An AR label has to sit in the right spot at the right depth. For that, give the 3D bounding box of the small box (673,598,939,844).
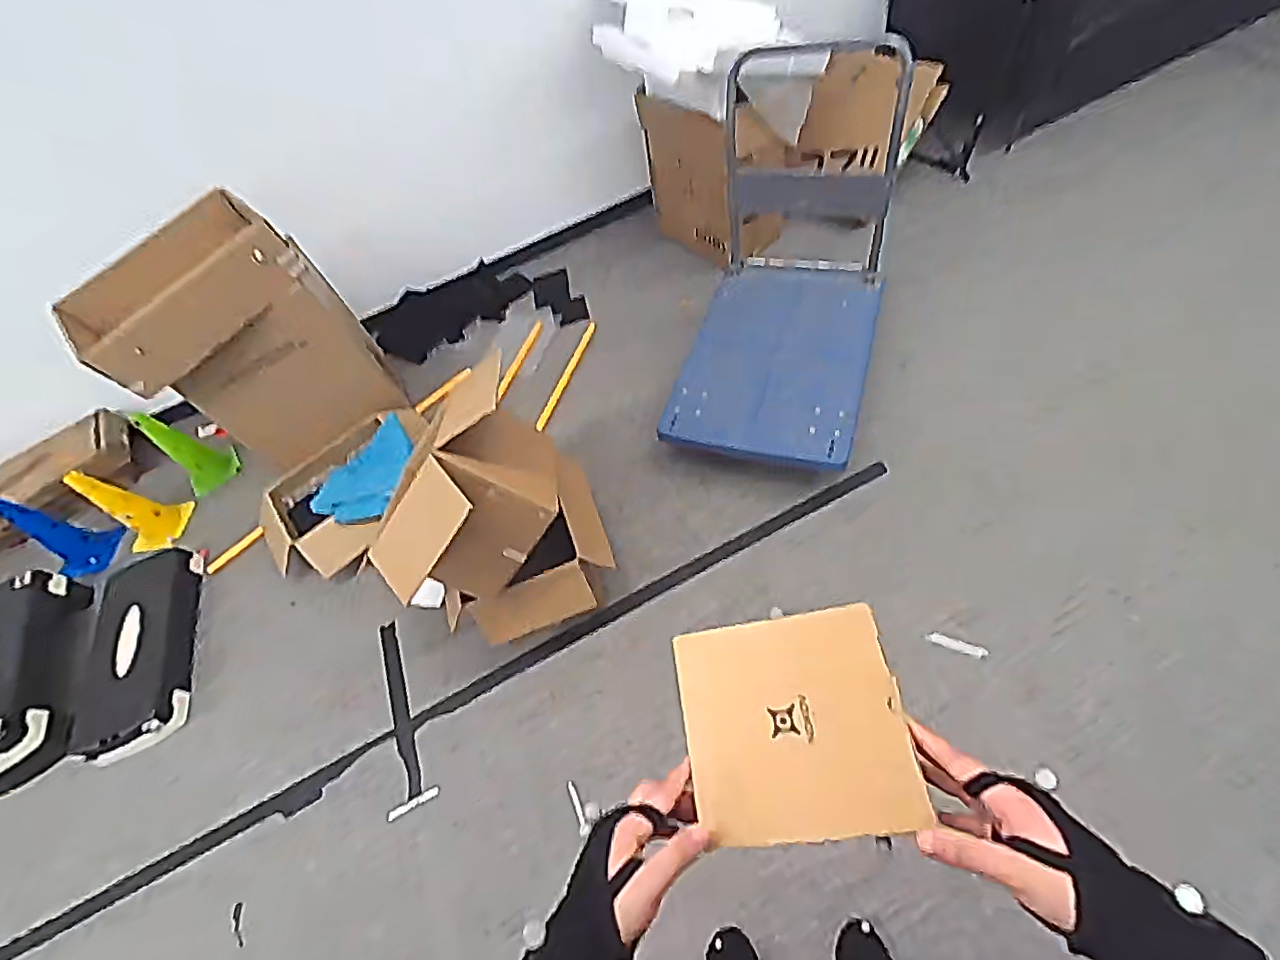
[{"bbox_3d":[0.143,0.221,0.495,0.179,0.176,0.168,-14,61,13],"label":"small box"}]
